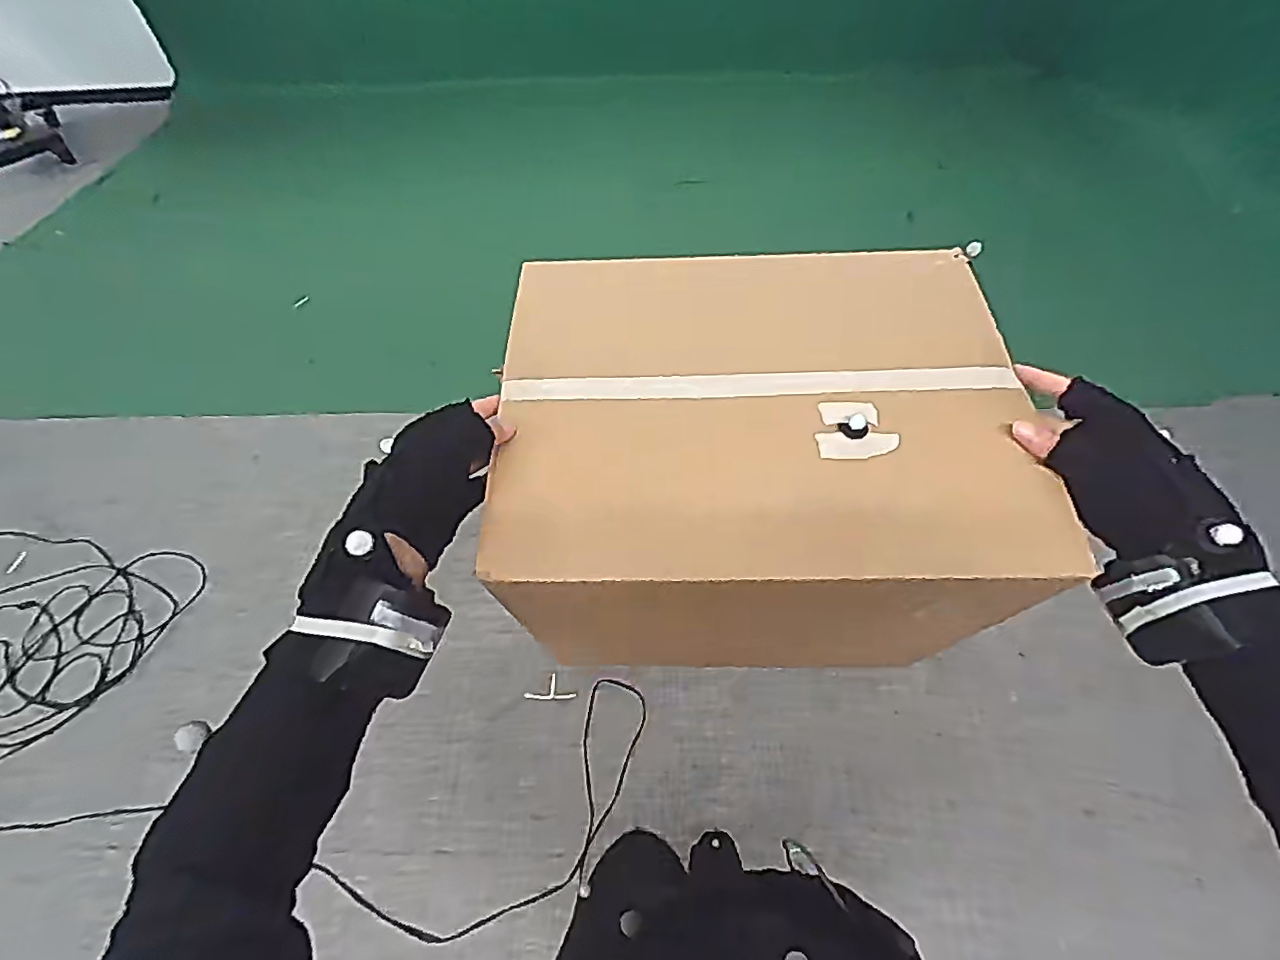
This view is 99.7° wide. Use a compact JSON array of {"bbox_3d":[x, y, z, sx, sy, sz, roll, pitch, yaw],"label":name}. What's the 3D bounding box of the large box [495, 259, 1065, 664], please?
[{"bbox_3d":[0.097,0.004,0.574,0.408,0.320,0.320,-2,62,2],"label":"large box"}]
